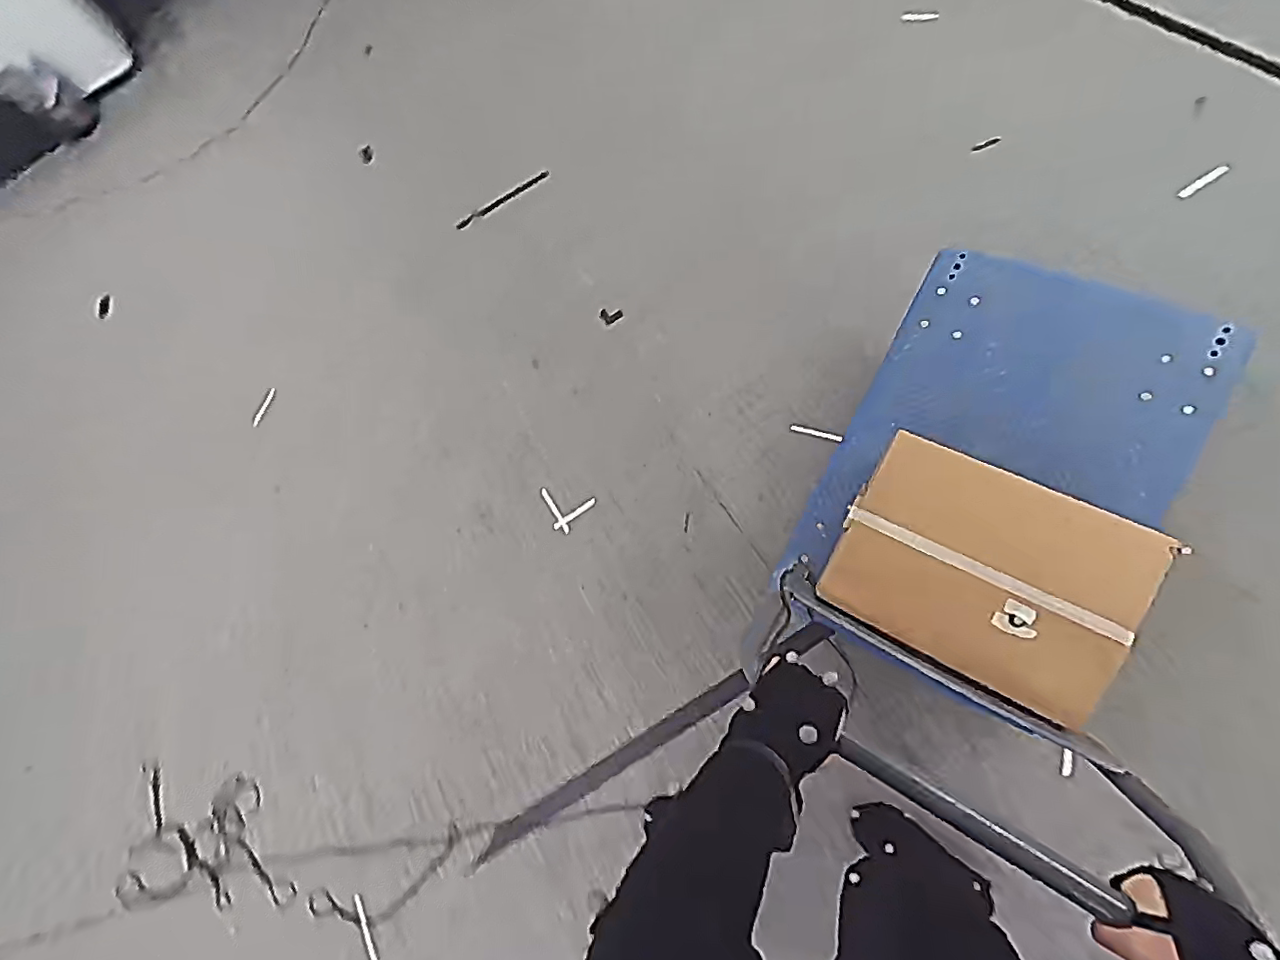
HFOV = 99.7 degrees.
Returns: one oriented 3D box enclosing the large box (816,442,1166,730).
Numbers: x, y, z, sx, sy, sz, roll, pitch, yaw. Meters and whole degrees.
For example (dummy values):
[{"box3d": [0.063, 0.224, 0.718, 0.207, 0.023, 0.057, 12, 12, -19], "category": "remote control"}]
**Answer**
[{"box3d": [0.574, 0.168, 0.990, 0.408, 0.320, 0.320, 27, 93, 19], "category": "large box"}]
